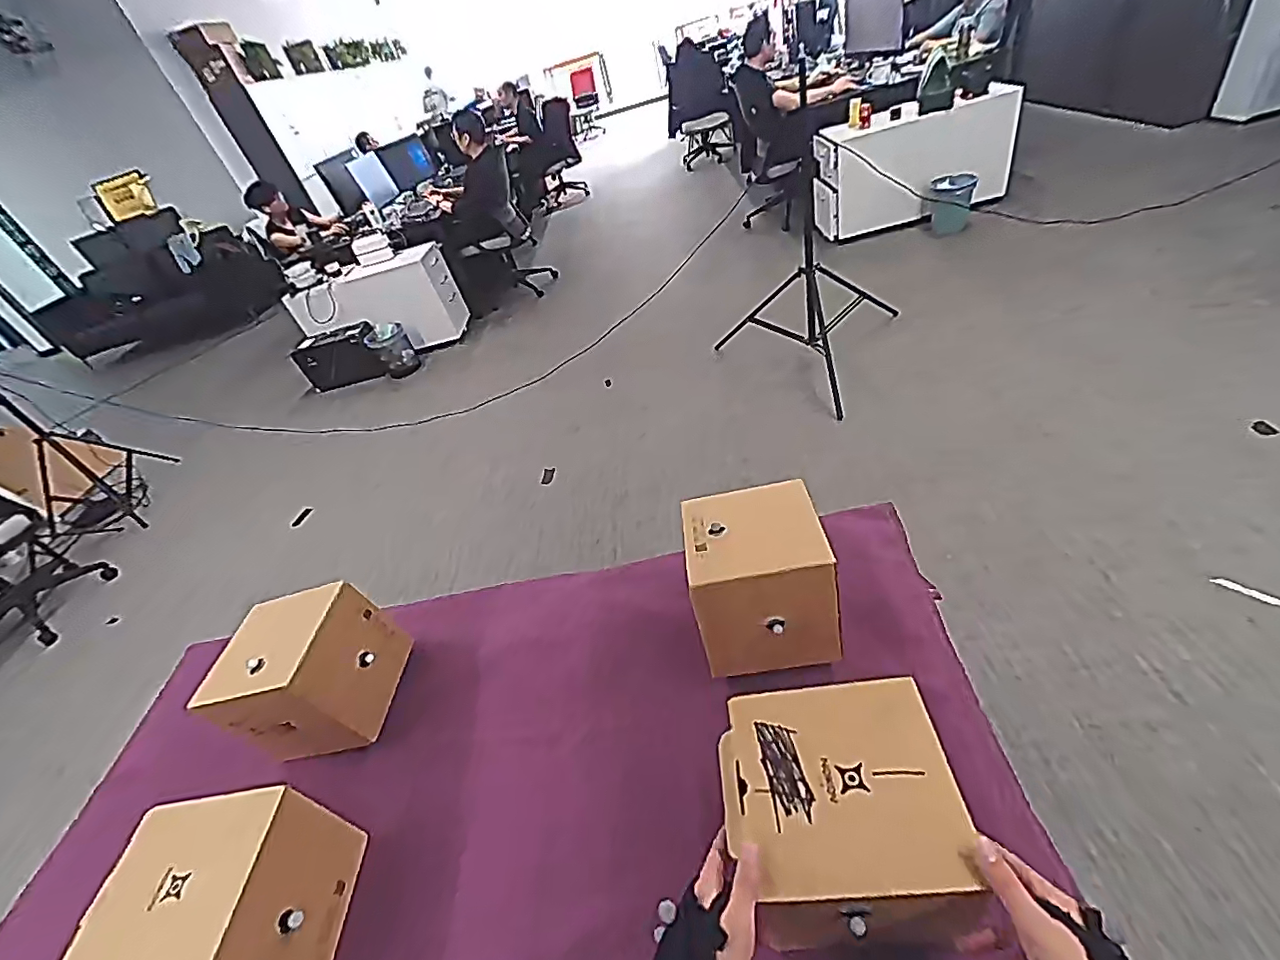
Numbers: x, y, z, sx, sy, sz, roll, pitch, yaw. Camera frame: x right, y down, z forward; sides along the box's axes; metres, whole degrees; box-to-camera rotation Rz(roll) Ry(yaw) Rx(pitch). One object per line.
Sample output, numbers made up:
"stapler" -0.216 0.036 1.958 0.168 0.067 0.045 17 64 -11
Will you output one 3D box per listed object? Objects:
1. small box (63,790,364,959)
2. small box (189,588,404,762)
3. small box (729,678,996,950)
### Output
"small box" -0.435 0.458 0.576 0.179 0.176 0.168 -13 39 7
"small box" -0.471 0.278 0.781 0.179 0.168 0.176 -16 37 15
"small box" 0.189 0.310 0.500 0.179 0.176 0.168 -11 39 10
